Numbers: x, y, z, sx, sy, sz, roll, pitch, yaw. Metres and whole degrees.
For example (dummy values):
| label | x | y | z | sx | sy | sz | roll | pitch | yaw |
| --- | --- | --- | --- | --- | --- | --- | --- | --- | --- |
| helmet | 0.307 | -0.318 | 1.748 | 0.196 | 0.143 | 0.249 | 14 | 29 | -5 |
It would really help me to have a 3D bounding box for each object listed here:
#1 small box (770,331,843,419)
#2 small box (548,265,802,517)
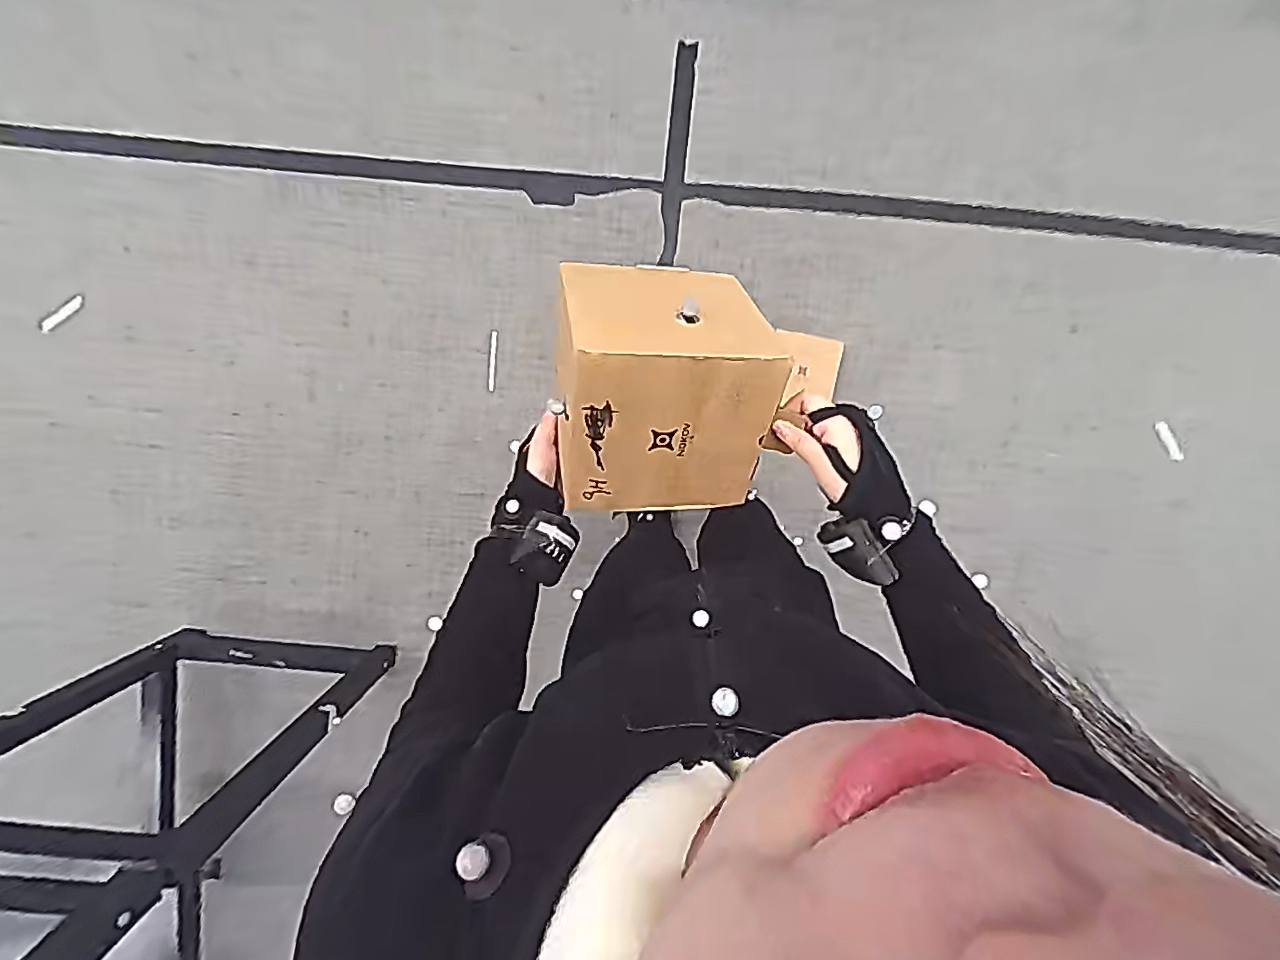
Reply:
| label | x | y | z | sx | sy | sz | roll | pitch | yaw |
| --- | --- | --- | --- | --- | --- | --- | --- | --- | --- |
| small box | 0.369 | -0.251 | 1.328 | 0.168 | 0.176 | 0.179 | 11 | 96 | -4 |
| small box | 0.014 | -0.085 | 0.500 | 0.179 | 0.176 | 0.168 | -2 | 132 | -14 |
